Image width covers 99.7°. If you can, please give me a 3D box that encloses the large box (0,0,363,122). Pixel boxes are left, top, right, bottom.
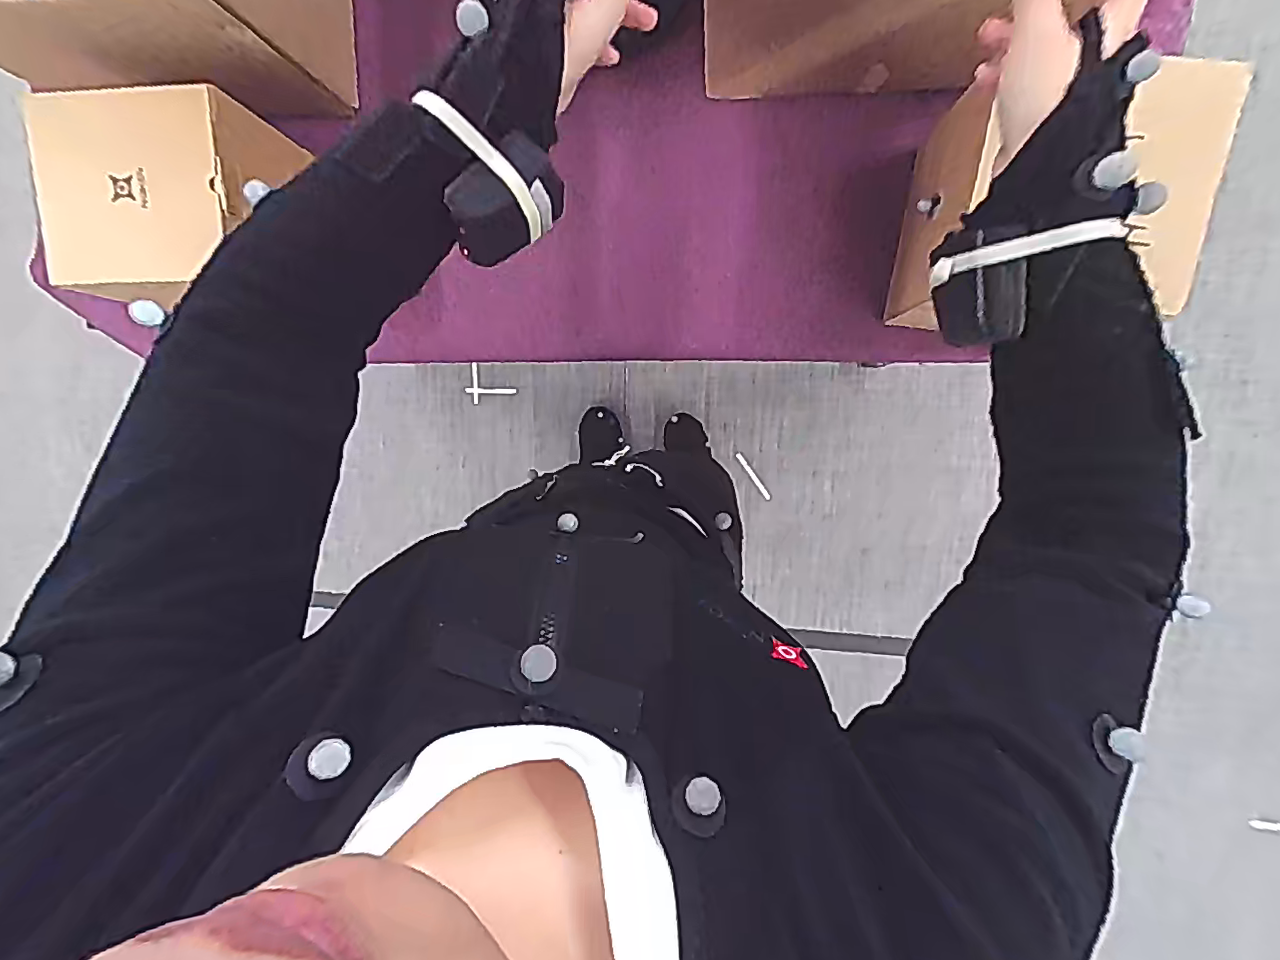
[{"bbox_3d":[-0.478,-0.591,0.454,0.320,0.320,0.408,1,101,5],"label":"large box"}]
